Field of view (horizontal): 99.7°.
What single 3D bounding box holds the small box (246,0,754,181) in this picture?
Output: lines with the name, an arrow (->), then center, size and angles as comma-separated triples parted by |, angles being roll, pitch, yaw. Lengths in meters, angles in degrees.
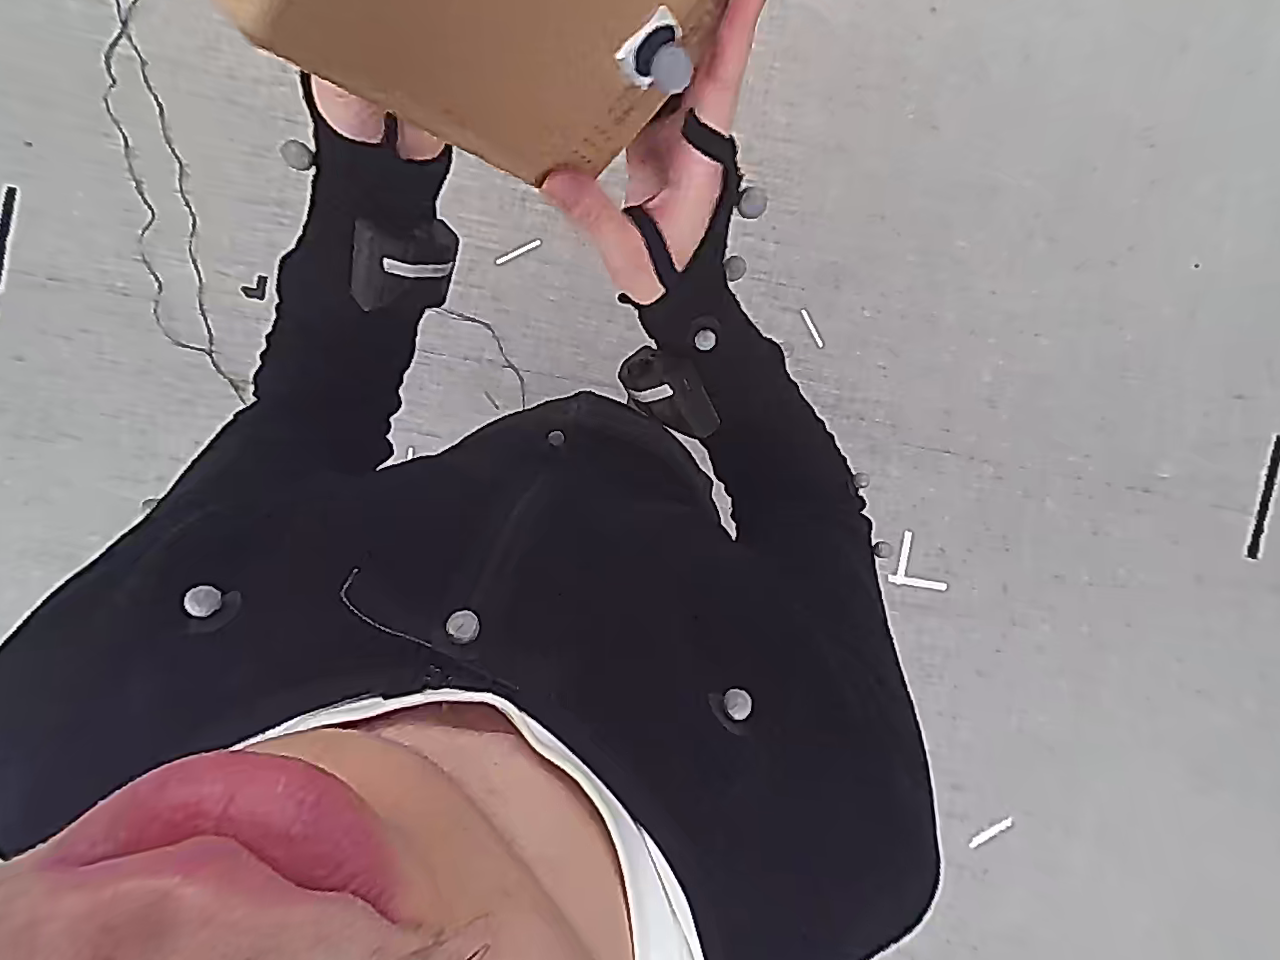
small box -> -0.055, -0.238, 0.176 | 0.168, 0.176, 0.179 | -40, 89, 25
